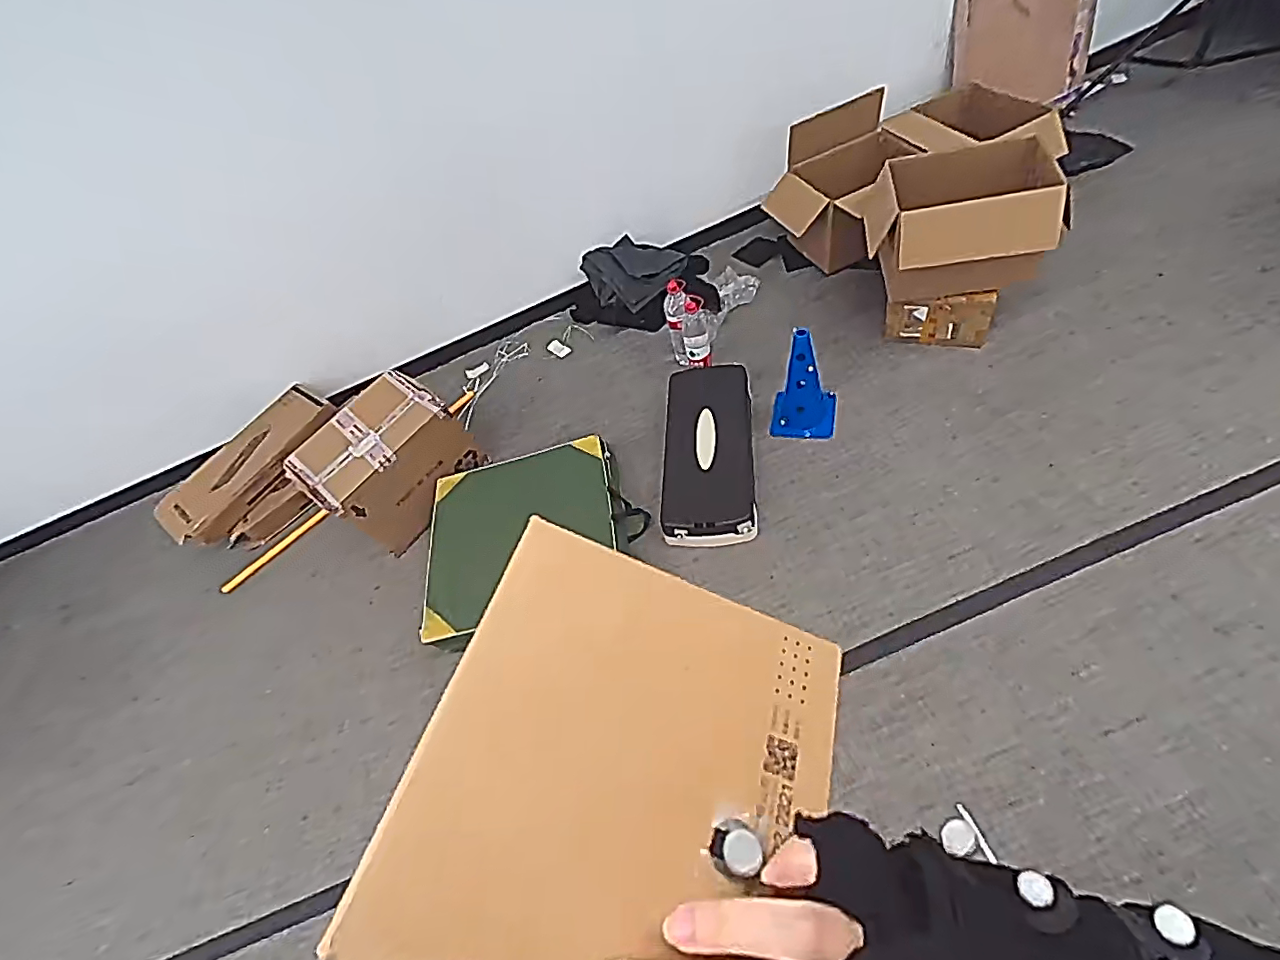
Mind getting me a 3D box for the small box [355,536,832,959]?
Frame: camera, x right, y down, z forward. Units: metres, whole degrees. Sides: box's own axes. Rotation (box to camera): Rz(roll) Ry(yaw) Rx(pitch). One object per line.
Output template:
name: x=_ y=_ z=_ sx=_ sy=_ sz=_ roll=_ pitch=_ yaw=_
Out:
small box: x=-0.020 y=0.163 z=0.302 sx=0.176 sy=0.179 sz=0.168 roll=23 pitch=56 yaw=-4
